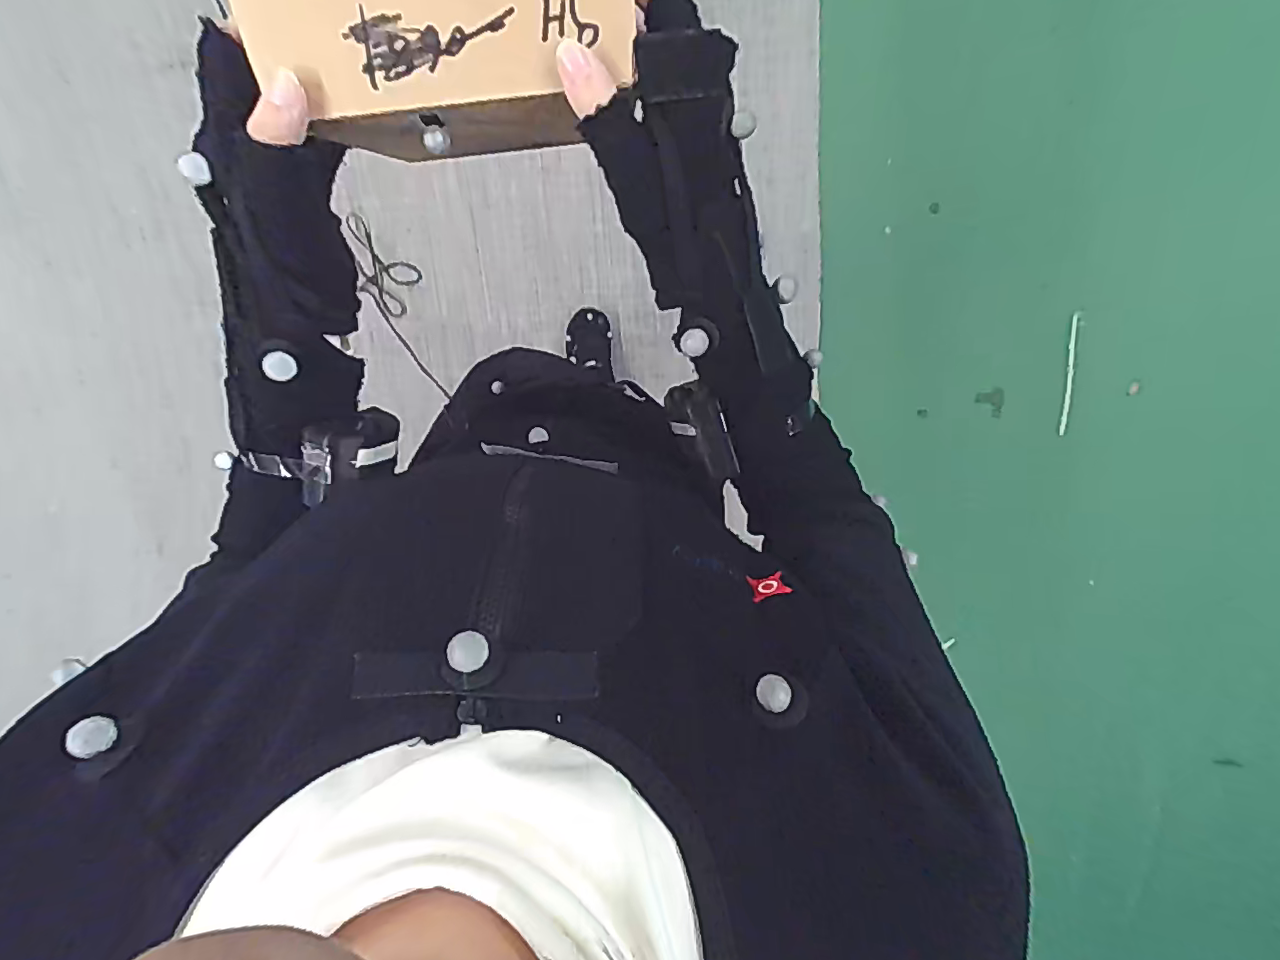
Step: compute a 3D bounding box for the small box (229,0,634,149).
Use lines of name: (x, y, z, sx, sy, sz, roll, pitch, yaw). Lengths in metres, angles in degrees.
small box: (-0.096, -0.287, 0.272, 0.168, 0.176, 0.179, -6, 115, 1)
